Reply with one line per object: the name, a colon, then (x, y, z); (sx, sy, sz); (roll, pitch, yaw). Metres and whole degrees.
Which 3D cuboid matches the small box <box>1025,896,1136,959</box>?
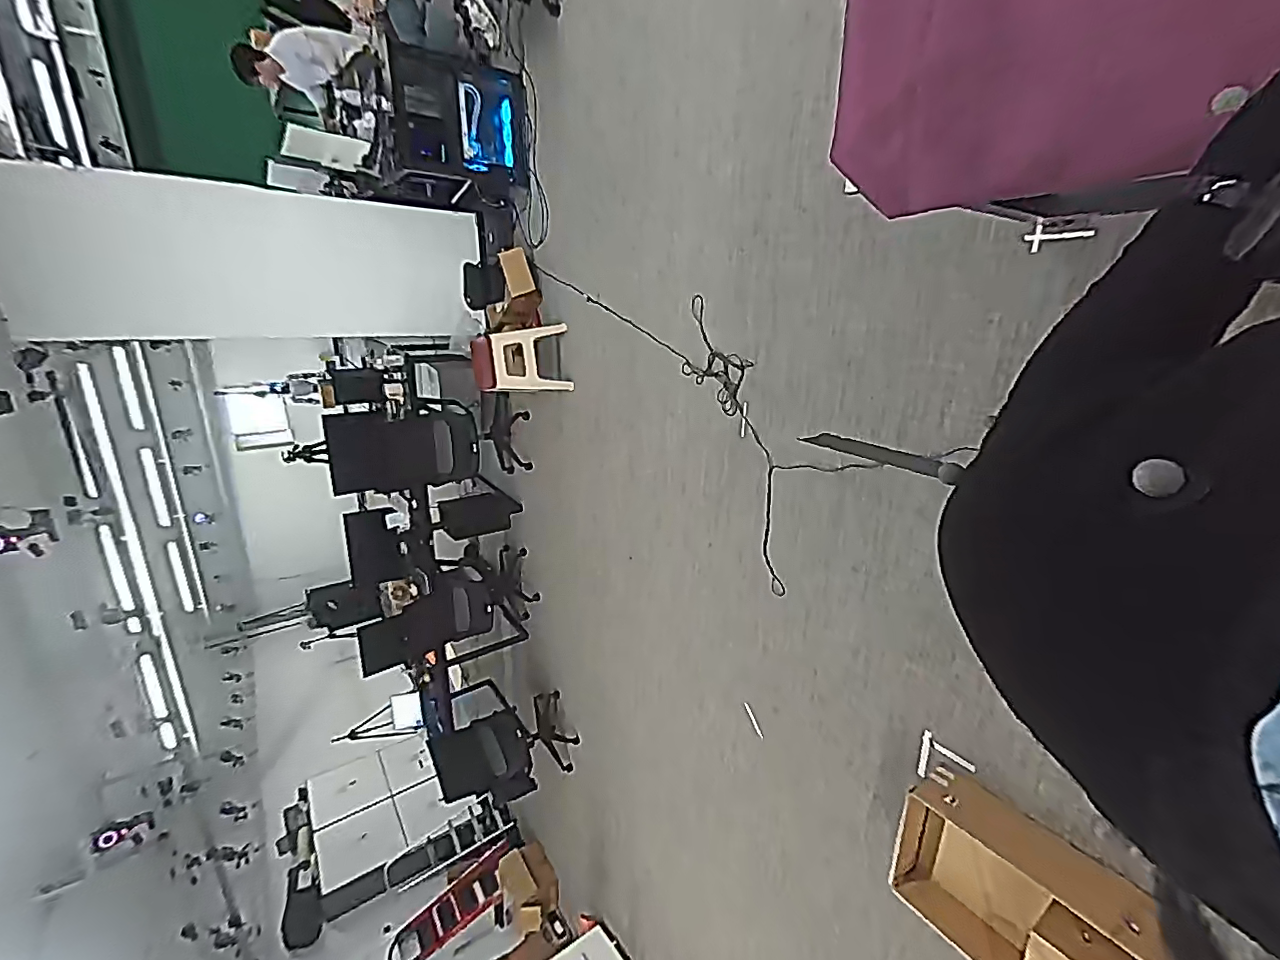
small box: (1.079, 1.188, 1.330); (0.168, 0.176, 0.179); (22, 117, 53)
